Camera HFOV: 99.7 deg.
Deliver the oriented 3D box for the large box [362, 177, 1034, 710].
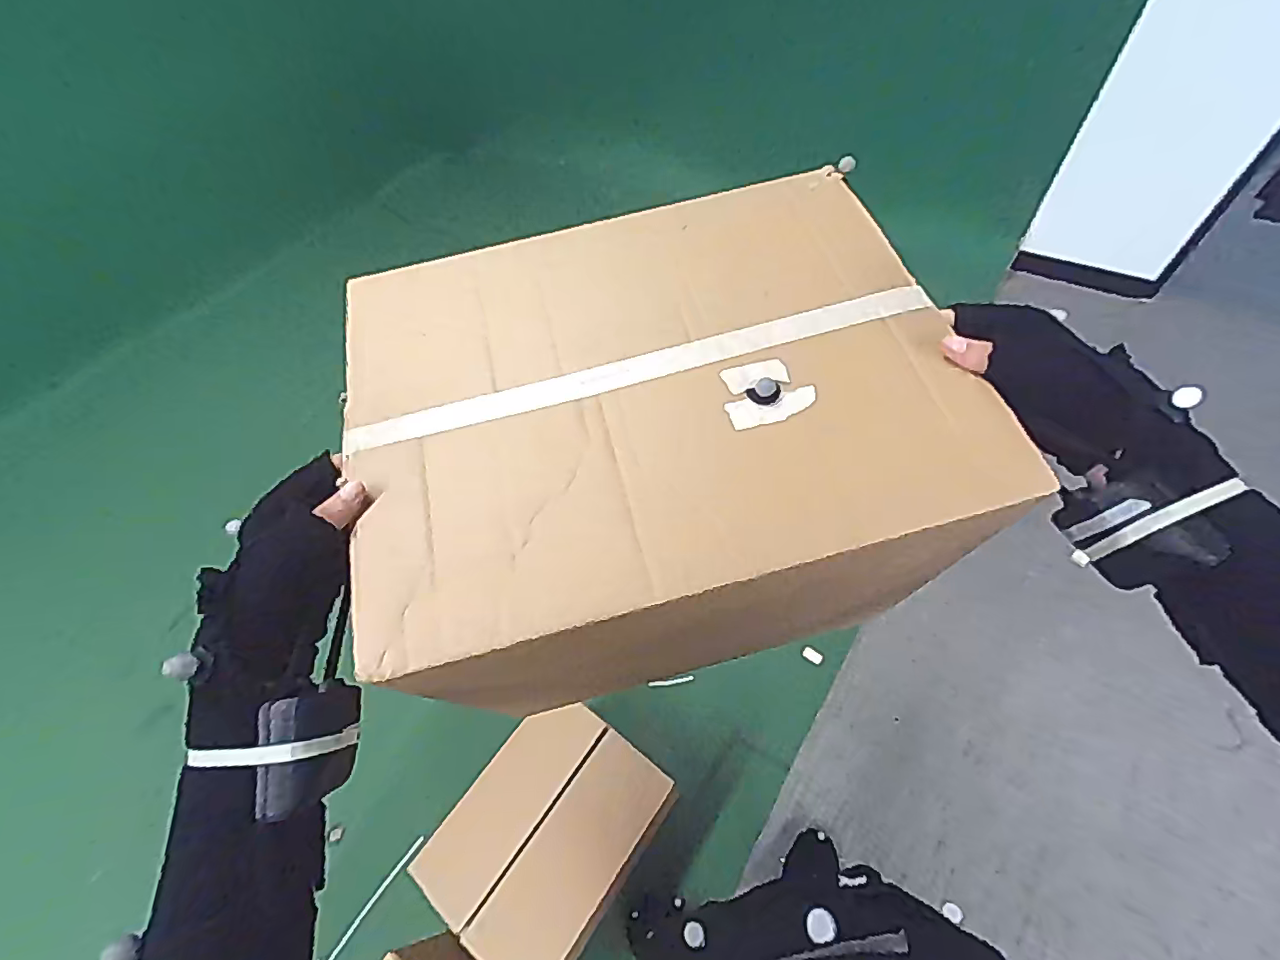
[{"bbox_3d":[0.015,-0.010,0.506,0.408,0.320,0.320,-14,63,-4],"label":"large box"}]
